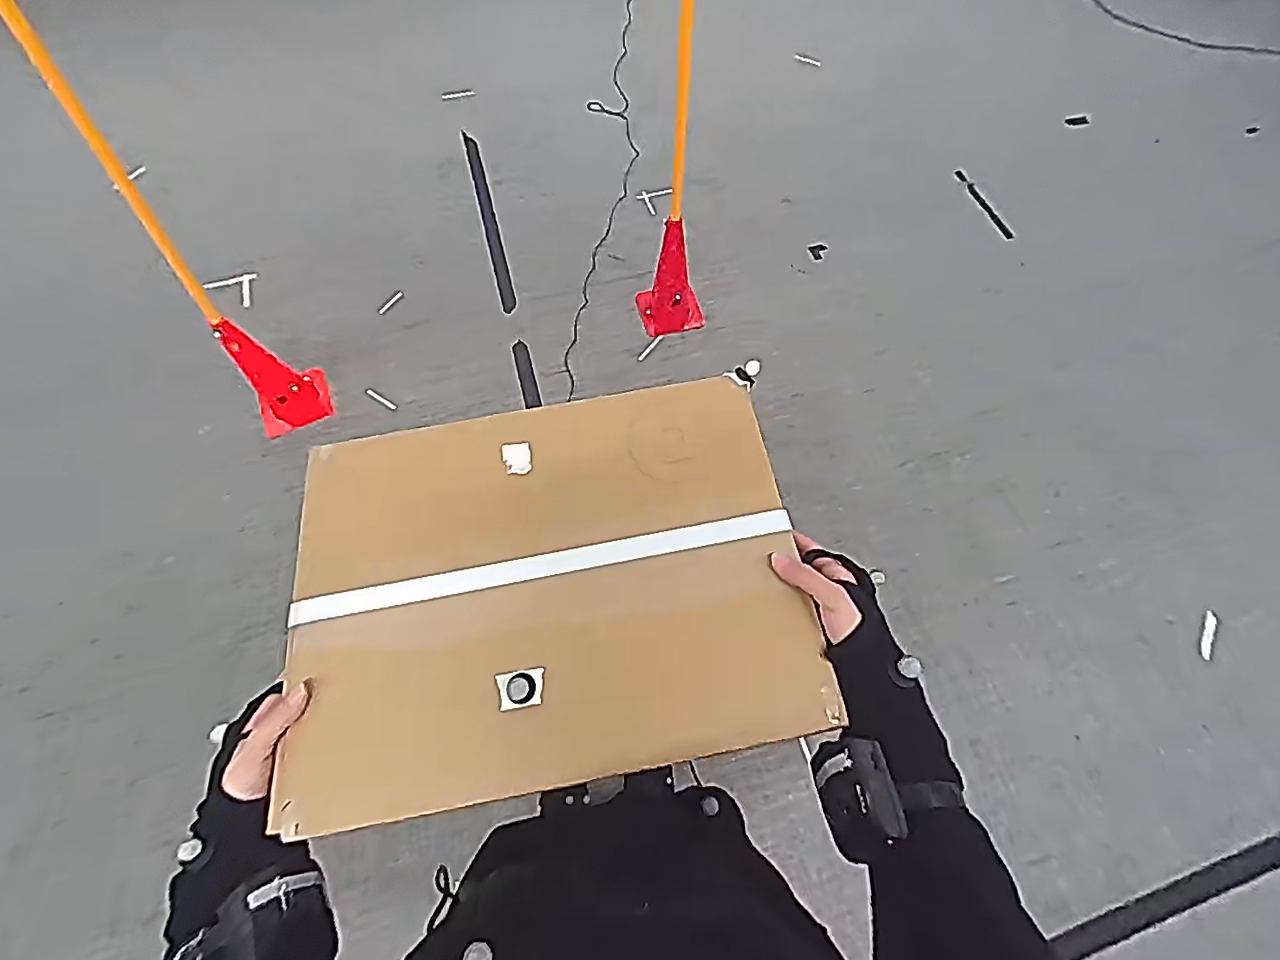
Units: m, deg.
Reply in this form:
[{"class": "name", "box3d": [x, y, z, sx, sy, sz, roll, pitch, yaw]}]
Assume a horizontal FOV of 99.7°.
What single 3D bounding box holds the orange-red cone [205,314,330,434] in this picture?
[{"class": "orange-red cone", "box3d": [-1.052, -0.315, 1.485, 0.199, 0.360, 0.198, -24, 66, -10]}]
